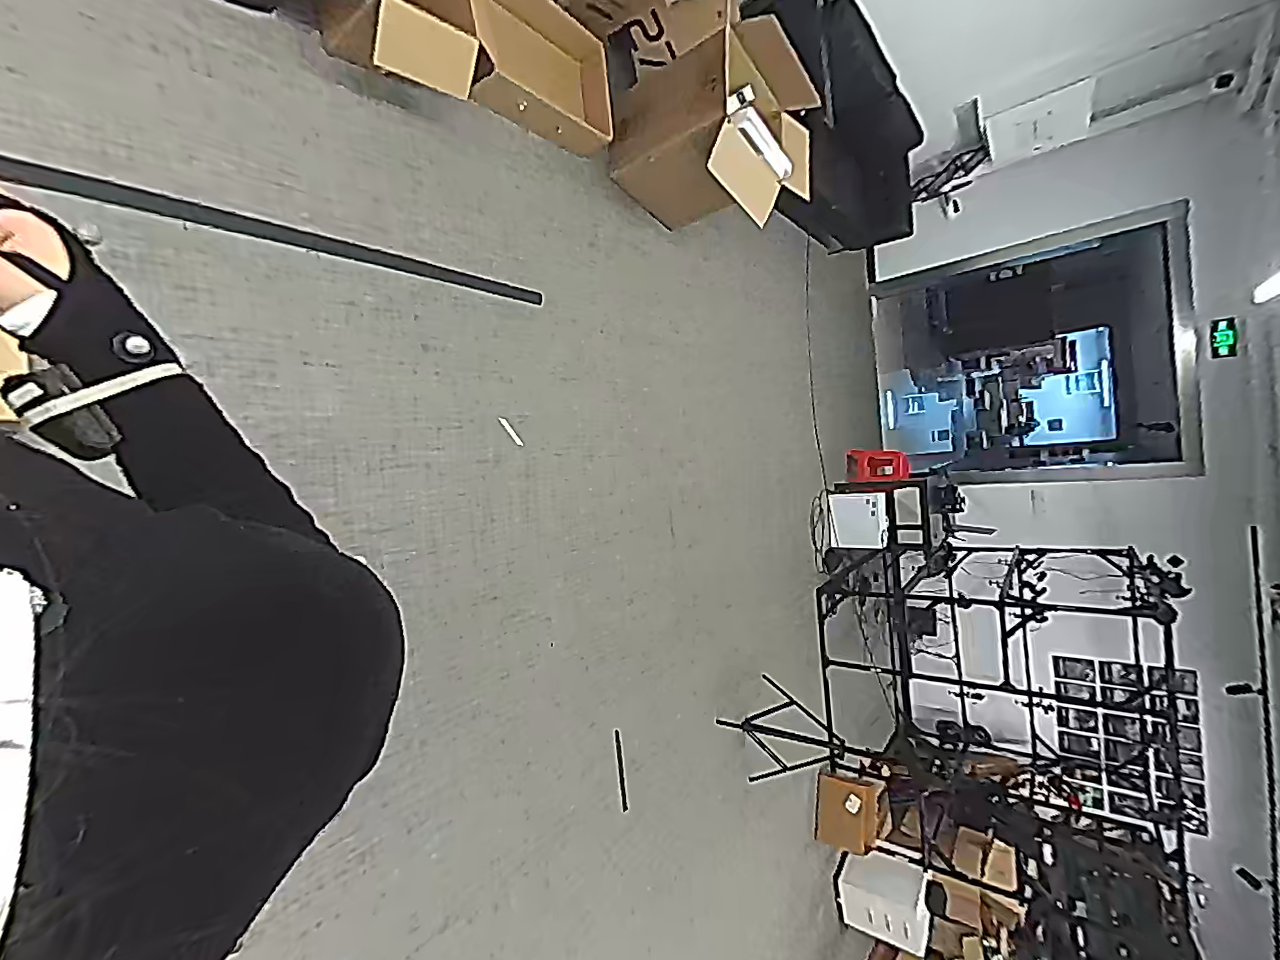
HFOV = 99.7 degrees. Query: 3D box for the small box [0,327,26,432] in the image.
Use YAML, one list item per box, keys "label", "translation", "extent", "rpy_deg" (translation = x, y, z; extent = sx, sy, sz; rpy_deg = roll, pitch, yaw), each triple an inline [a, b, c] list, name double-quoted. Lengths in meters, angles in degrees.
- label: "small box"
  translation: [-1.181, -0.172, 0.914]
  extent: [0.179, 0.176, 0.168]
  rpy_deg: [-3, 89, -54]
